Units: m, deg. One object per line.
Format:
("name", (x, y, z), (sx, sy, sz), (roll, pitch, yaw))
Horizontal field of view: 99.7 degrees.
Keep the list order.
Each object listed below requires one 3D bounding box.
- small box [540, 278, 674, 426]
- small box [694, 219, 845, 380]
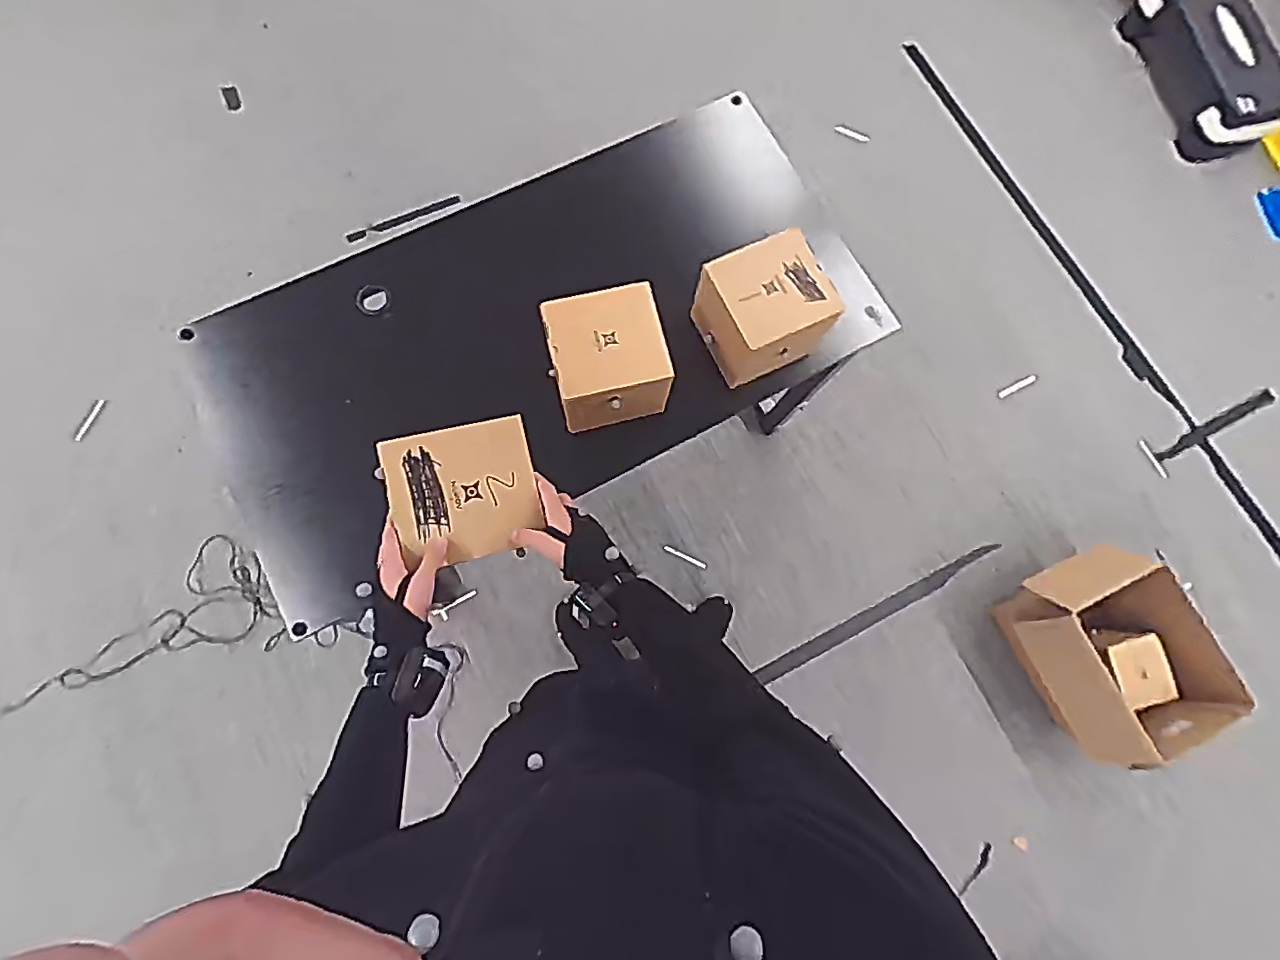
("small box", (-0.054, -0.204, 0.900), (0.179, 0.176, 0.168), (-15, 80, -4))
("small box", (0.209, -0.298, 0.926), (0.179, 0.176, 0.168), (-26, 81, -6))
